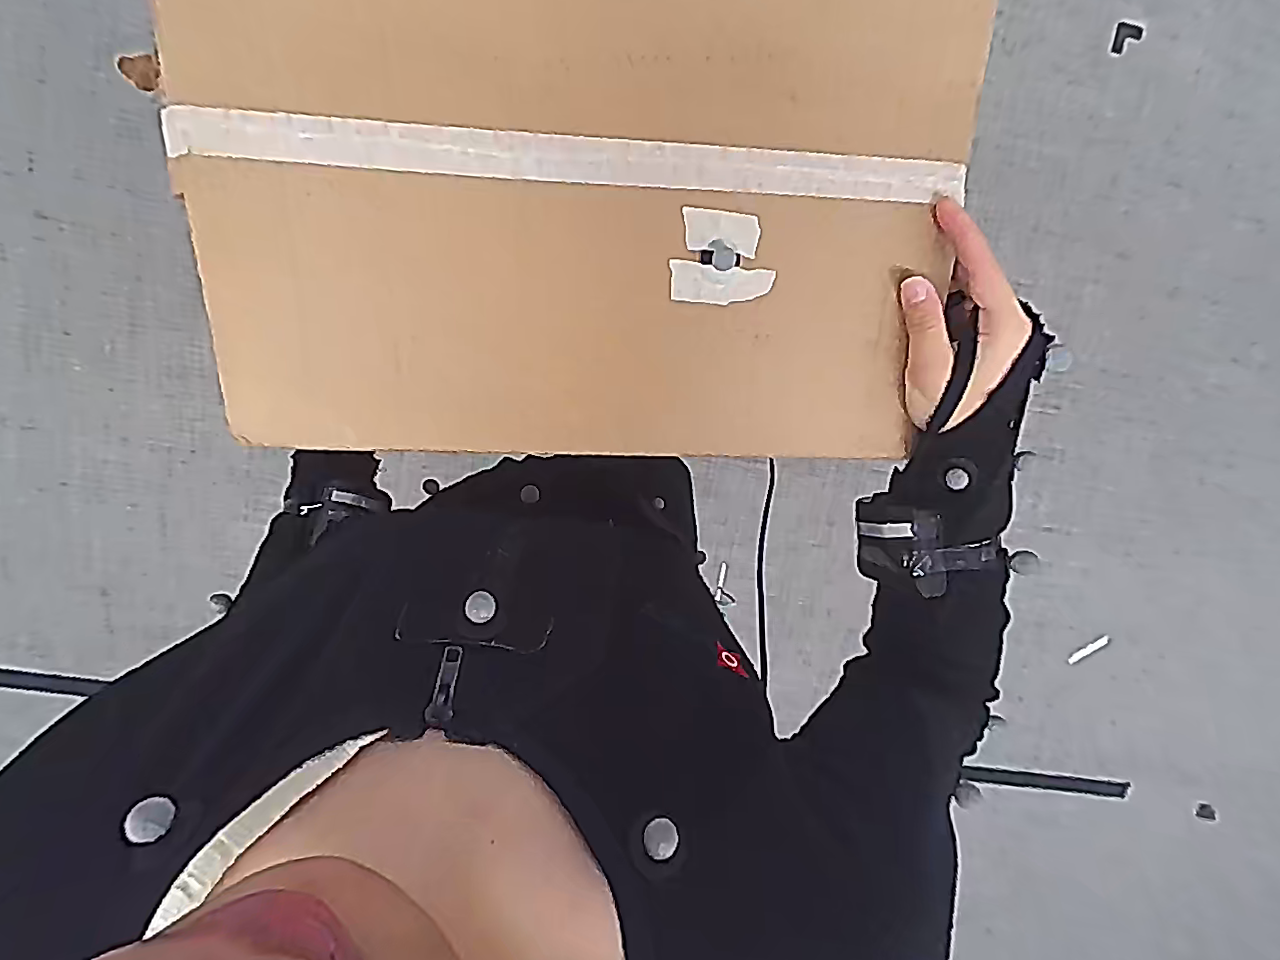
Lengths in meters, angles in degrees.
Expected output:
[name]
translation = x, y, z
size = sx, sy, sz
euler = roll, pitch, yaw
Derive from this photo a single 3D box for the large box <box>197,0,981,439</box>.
[large box]
translation = -0.034, -0.214, 0.435
size = 0.408, 0.320, 0.320
euler = 0, 107, -7
